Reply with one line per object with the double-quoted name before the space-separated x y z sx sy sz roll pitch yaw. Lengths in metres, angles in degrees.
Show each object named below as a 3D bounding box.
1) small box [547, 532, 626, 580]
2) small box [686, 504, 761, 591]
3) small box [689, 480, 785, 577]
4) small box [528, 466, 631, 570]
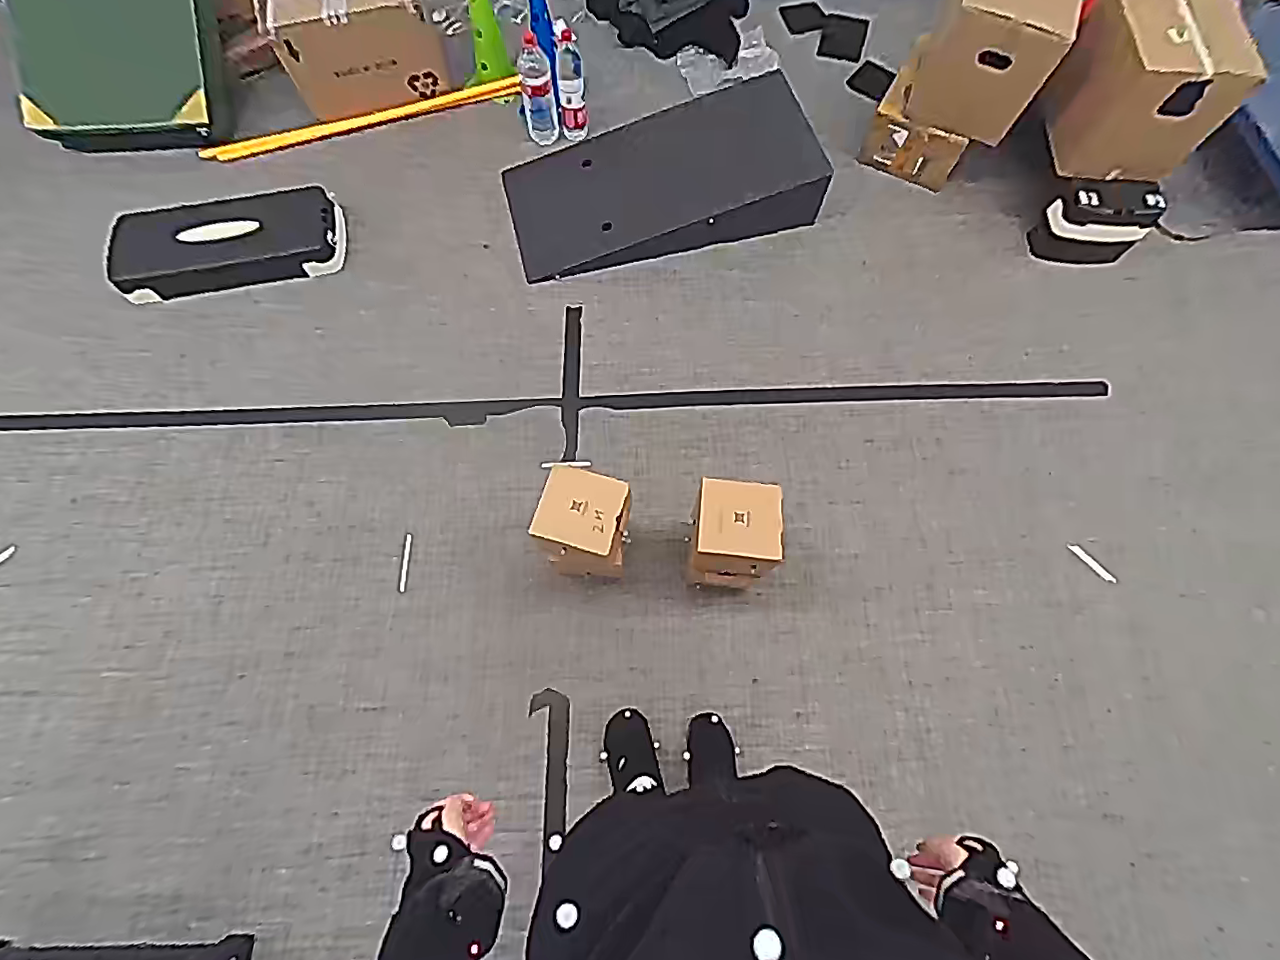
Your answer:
"small box" -0.126 0.151 1.352 0.179 0.176 0.168 4 70 0
"small box" 0.205 0.174 1.348 0.168 0.176 0.179 5 69 1
"small box" 0.210 0.114 1.197 0.179 0.176 0.168 7 69 2
"small box" -0.125 0.091 1.197 0.179 0.176 0.168 16 71 6
